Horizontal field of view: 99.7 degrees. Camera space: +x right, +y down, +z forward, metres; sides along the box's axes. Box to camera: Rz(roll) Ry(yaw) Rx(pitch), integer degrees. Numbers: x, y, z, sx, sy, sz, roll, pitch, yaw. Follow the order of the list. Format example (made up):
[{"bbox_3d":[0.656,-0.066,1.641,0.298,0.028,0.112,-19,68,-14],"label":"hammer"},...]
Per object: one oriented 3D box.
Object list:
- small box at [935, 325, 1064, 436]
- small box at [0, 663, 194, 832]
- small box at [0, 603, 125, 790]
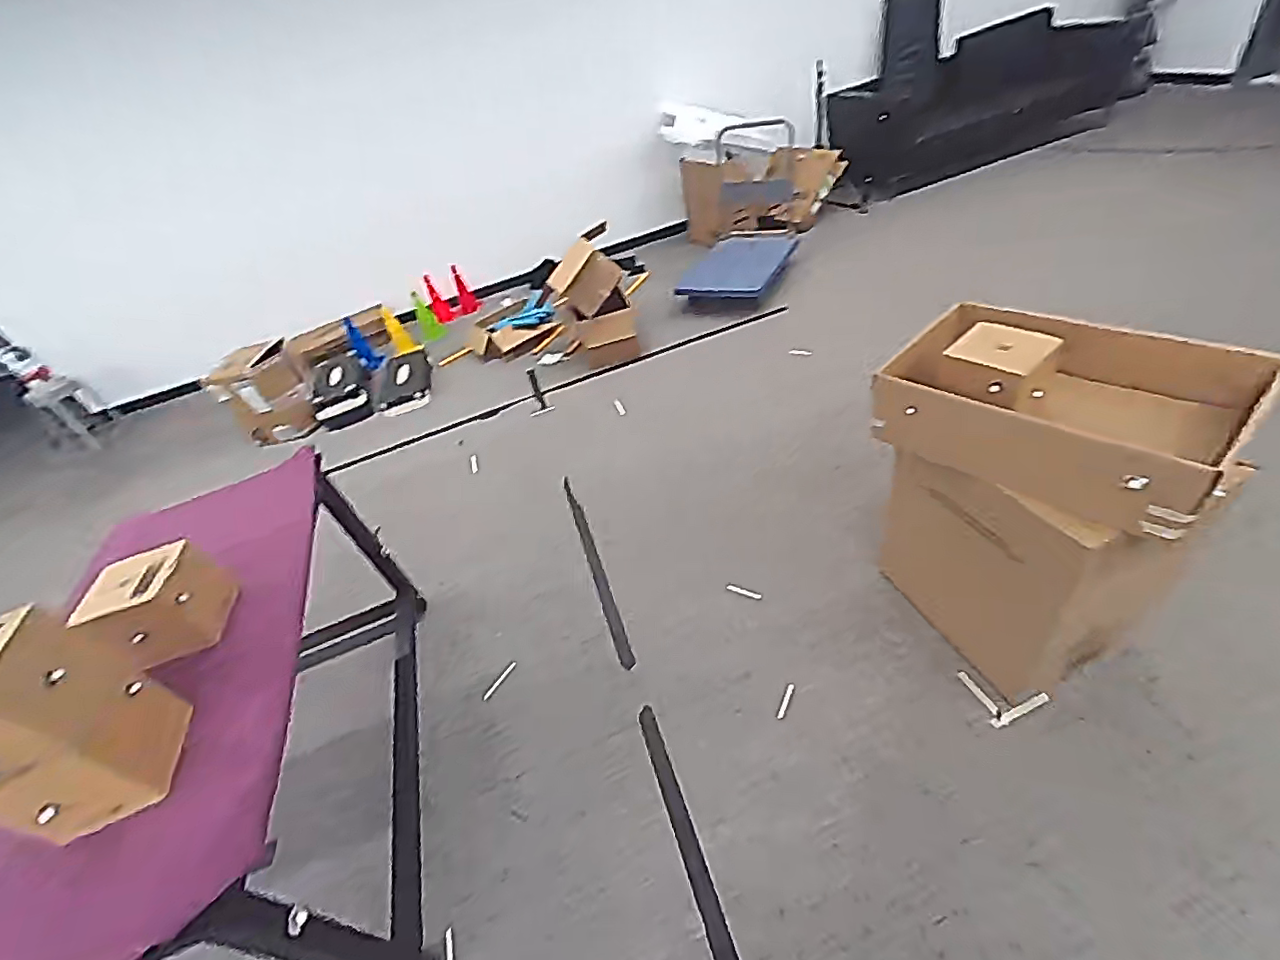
[{"bbox_3d":[0.808,-0.224,1.232,0.168,0.176,0.179,-35,44,-21],"label":"small box"},{"bbox_3d":[-0.891,0.445,0.891,0.168,0.176,0.179,-23,40,-9],"label":"small box"},{"bbox_3d":[-0.921,0.321,0.788,0.168,0.176,0.179,-23,41,-9],"label":"small box"}]
